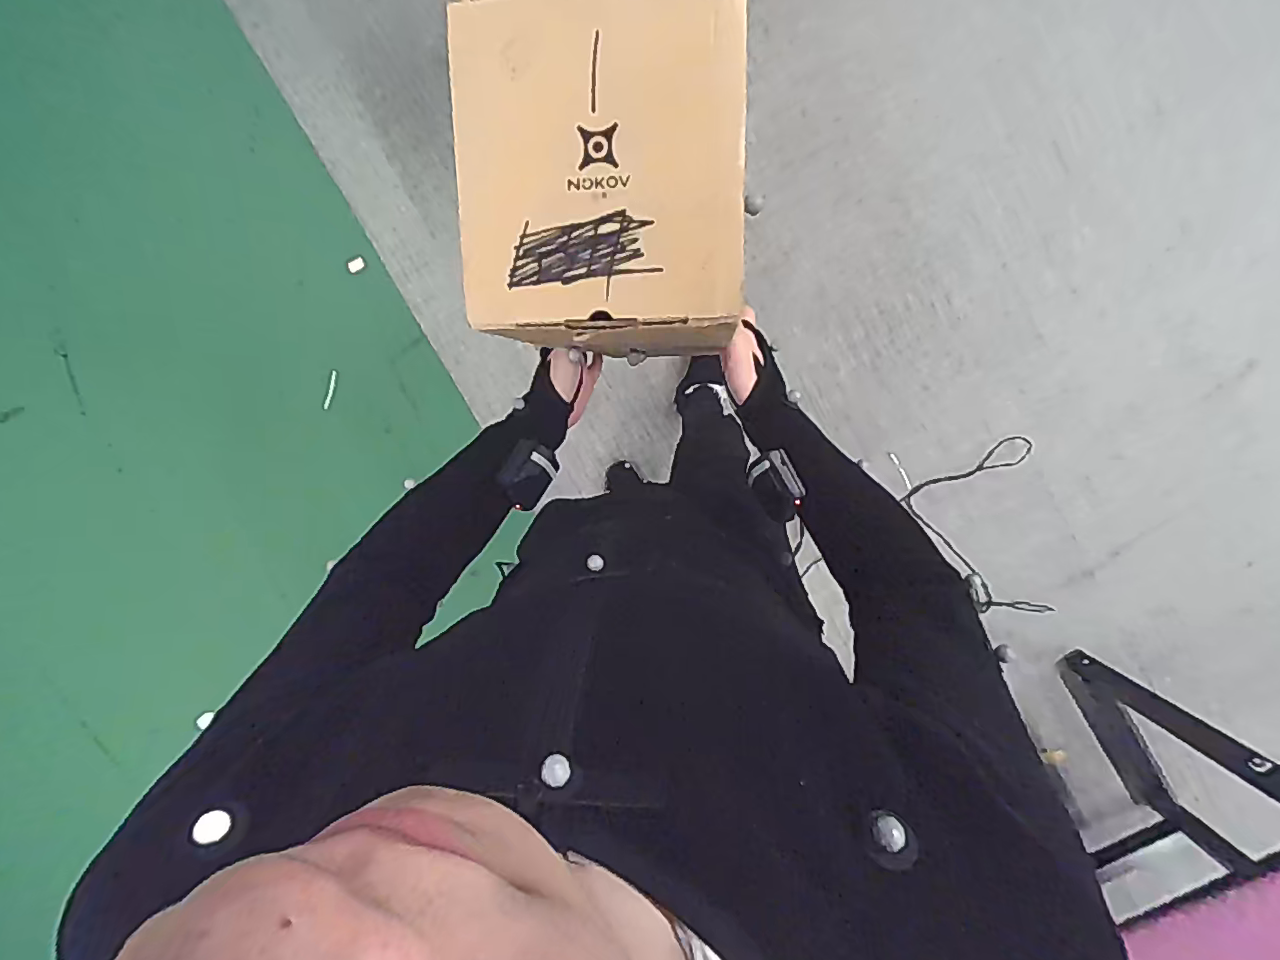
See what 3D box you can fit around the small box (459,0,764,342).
[{"bbox_3d":[-0.007,-0.189,0.374,0.168,0.176,0.179,0,99,6],"label":"small box"}]
